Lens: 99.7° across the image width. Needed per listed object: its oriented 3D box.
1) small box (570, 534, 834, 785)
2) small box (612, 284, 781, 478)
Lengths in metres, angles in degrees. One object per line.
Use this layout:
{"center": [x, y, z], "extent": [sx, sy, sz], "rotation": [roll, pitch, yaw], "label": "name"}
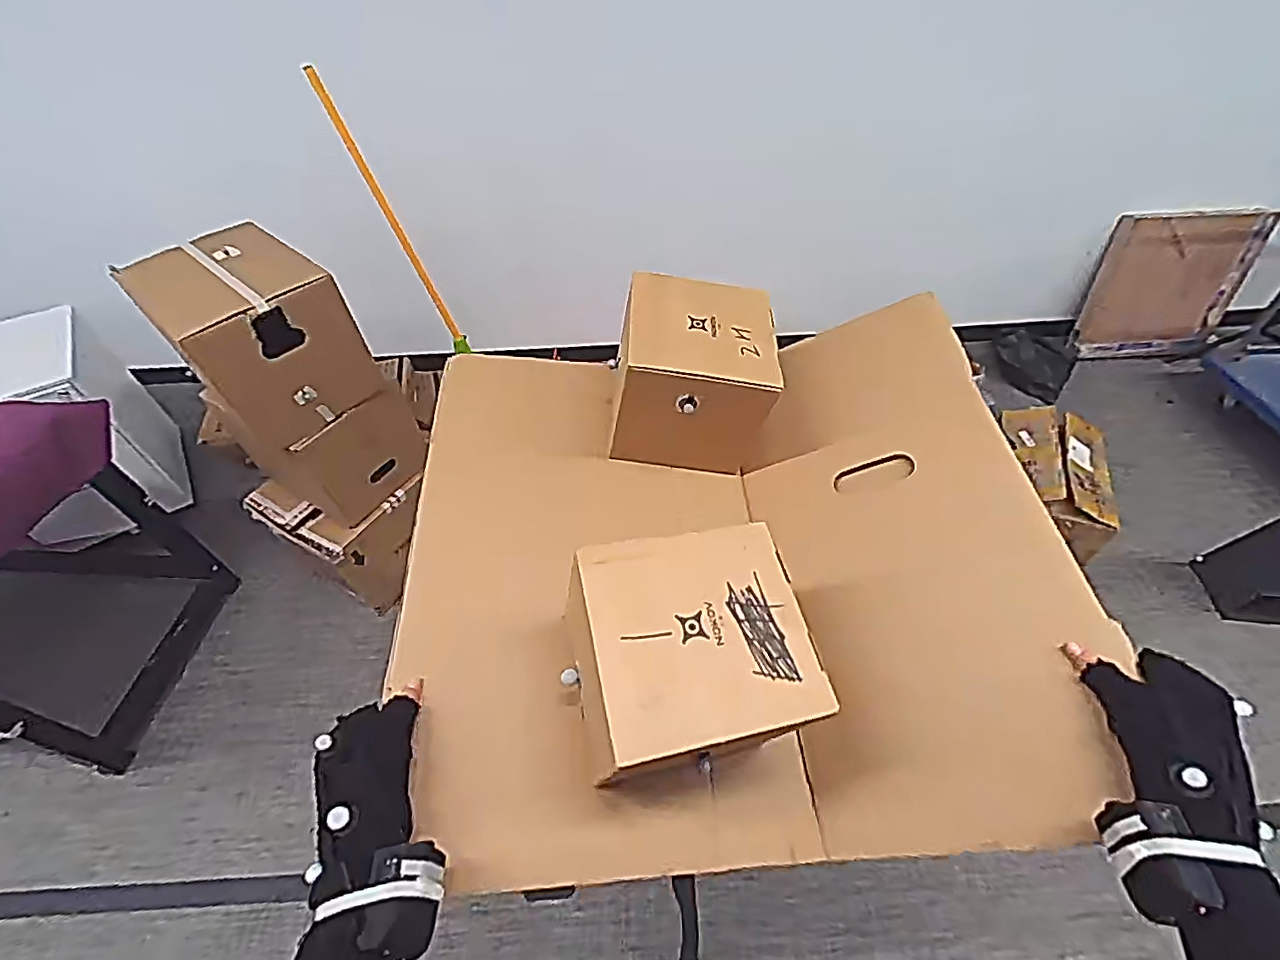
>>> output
{"center": [0.037, 0.167, 0.497], "extent": [0.179, 0.176, 0.168], "rotation": [-6, 58, -15], "label": "small box"}
{"center": [0.062, -0.119, 0.694], "extent": [0.179, 0.176, 0.168], "rotation": [8, 56, -7], "label": "small box"}
